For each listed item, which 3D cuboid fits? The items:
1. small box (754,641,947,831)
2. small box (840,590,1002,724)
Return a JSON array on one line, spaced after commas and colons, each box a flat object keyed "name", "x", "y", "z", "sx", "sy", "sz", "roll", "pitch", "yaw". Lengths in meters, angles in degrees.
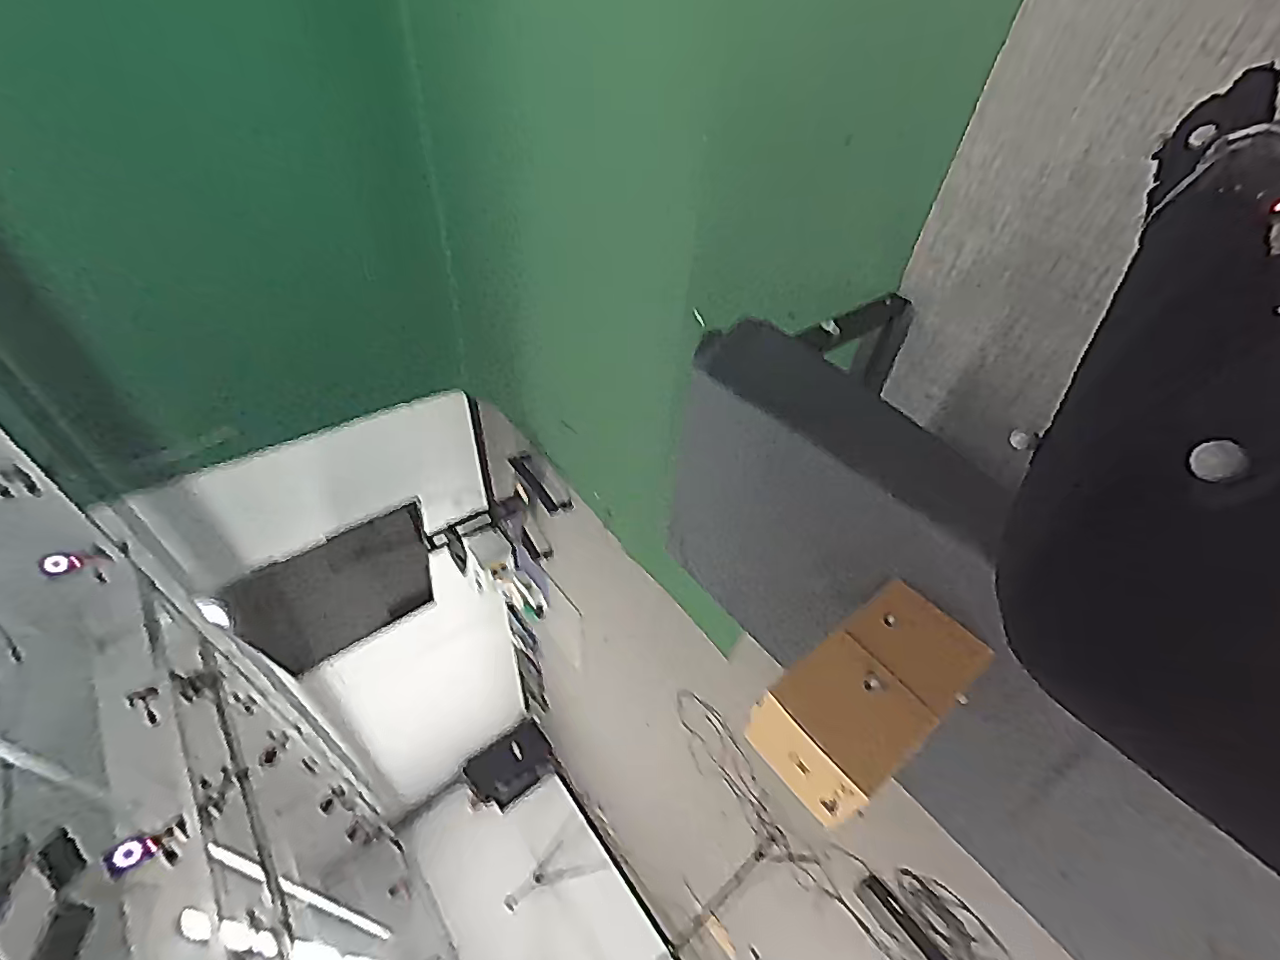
[{"name": "small box", "x": 0.304, "y": 0.366, "z": 0.800, "sx": 0.179, "sy": 0.176, "sz": 0.168, "roll": 44, "pitch": 148, "yaw": 32}, {"name": "small box", "x": 0.433, "y": 0.303, "z": 0.879, "sx": 0.179, "sy": 0.176, "sz": 0.168, "roll": 41, "pitch": 146, "yaw": 33}]
